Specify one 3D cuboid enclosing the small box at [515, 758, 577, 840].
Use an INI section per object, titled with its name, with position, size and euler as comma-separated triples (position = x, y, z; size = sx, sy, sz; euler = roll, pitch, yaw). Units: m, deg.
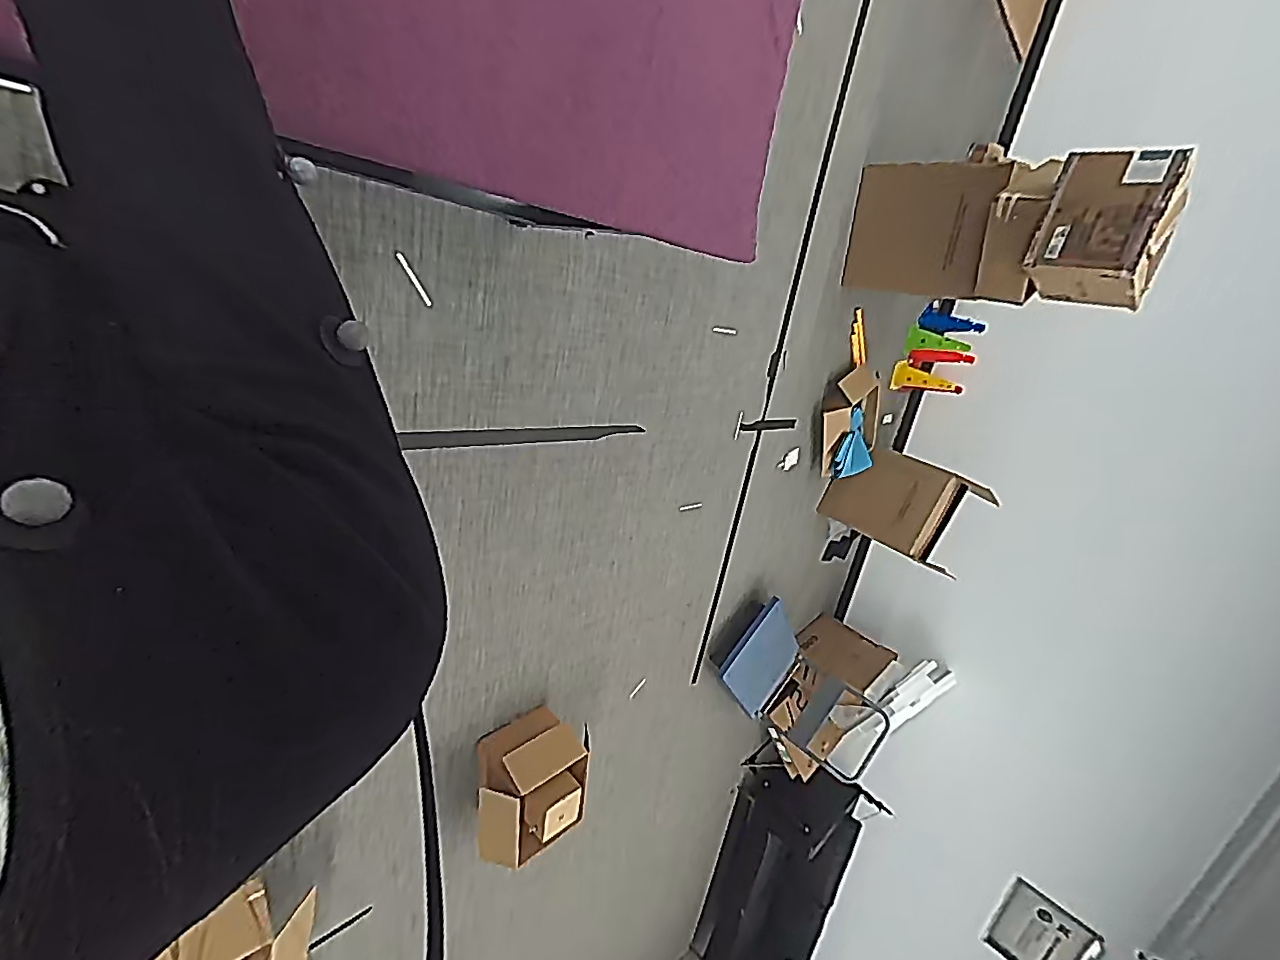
[small box]
position = -0.366, 1.225, 2.087
size = 0.168, 0.176, 0.179
euler = -12, 118, -44
